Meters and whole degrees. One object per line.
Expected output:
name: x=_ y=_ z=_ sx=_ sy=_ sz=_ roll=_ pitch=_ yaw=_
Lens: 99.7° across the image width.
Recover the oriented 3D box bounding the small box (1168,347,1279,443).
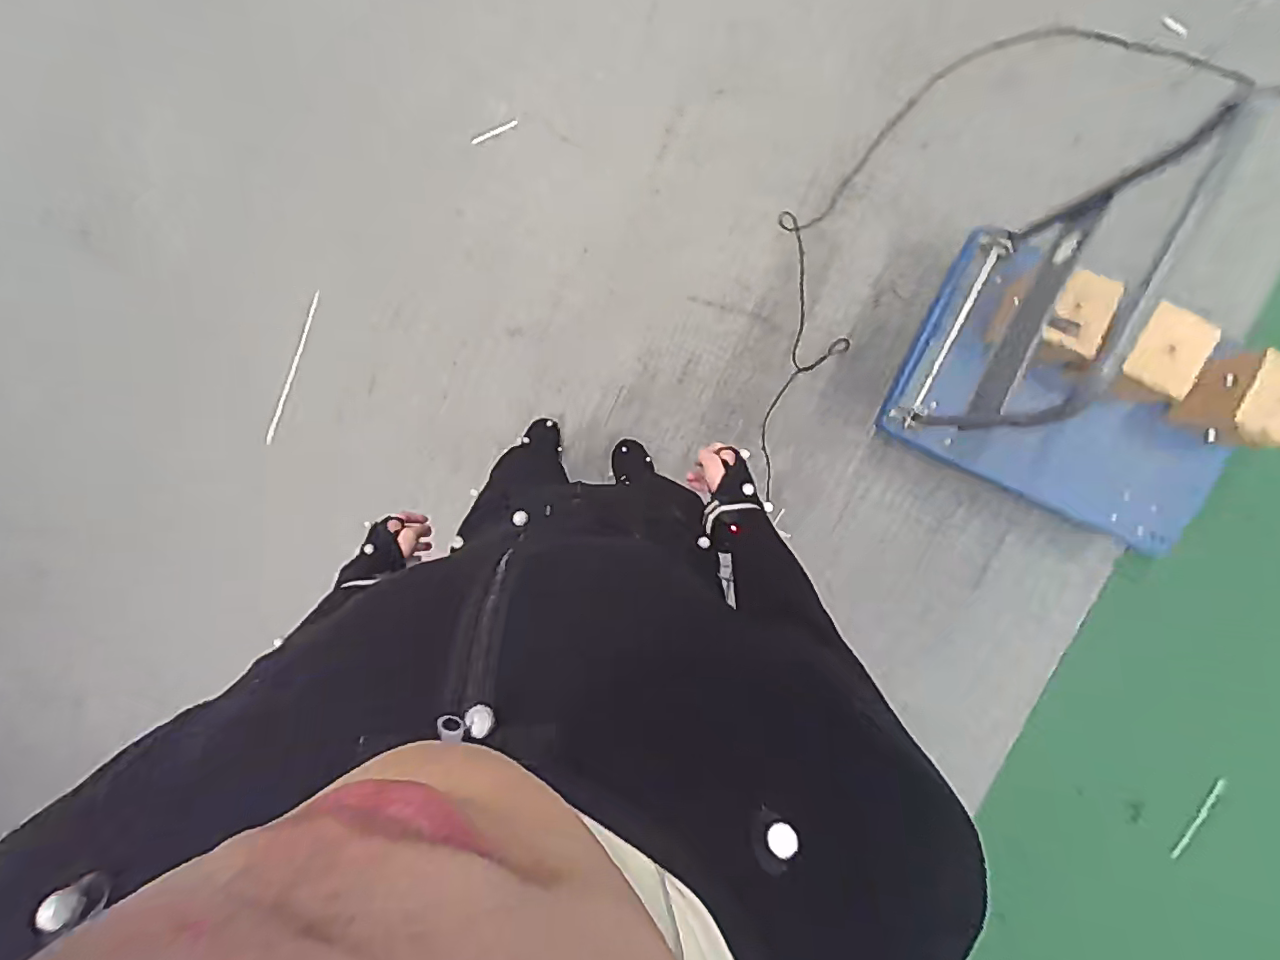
small box: x=1.474 y=-0.204 z=1.327 sx=0.168 sy=0.176 sz=0.179 roll=24 pitch=97 yaw=0

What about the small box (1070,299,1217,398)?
small box: x=1.217 y=-0.314 z=1.324 sx=0.168 sy=0.176 sz=0.179 roll=24 pitch=98 yaw=-2

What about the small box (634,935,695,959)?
small box: x=0.077 y=1.636 z=1.748 sx=0.179 sy=0.176 sz=0.168 roll=29 pitch=95 yaw=-2
